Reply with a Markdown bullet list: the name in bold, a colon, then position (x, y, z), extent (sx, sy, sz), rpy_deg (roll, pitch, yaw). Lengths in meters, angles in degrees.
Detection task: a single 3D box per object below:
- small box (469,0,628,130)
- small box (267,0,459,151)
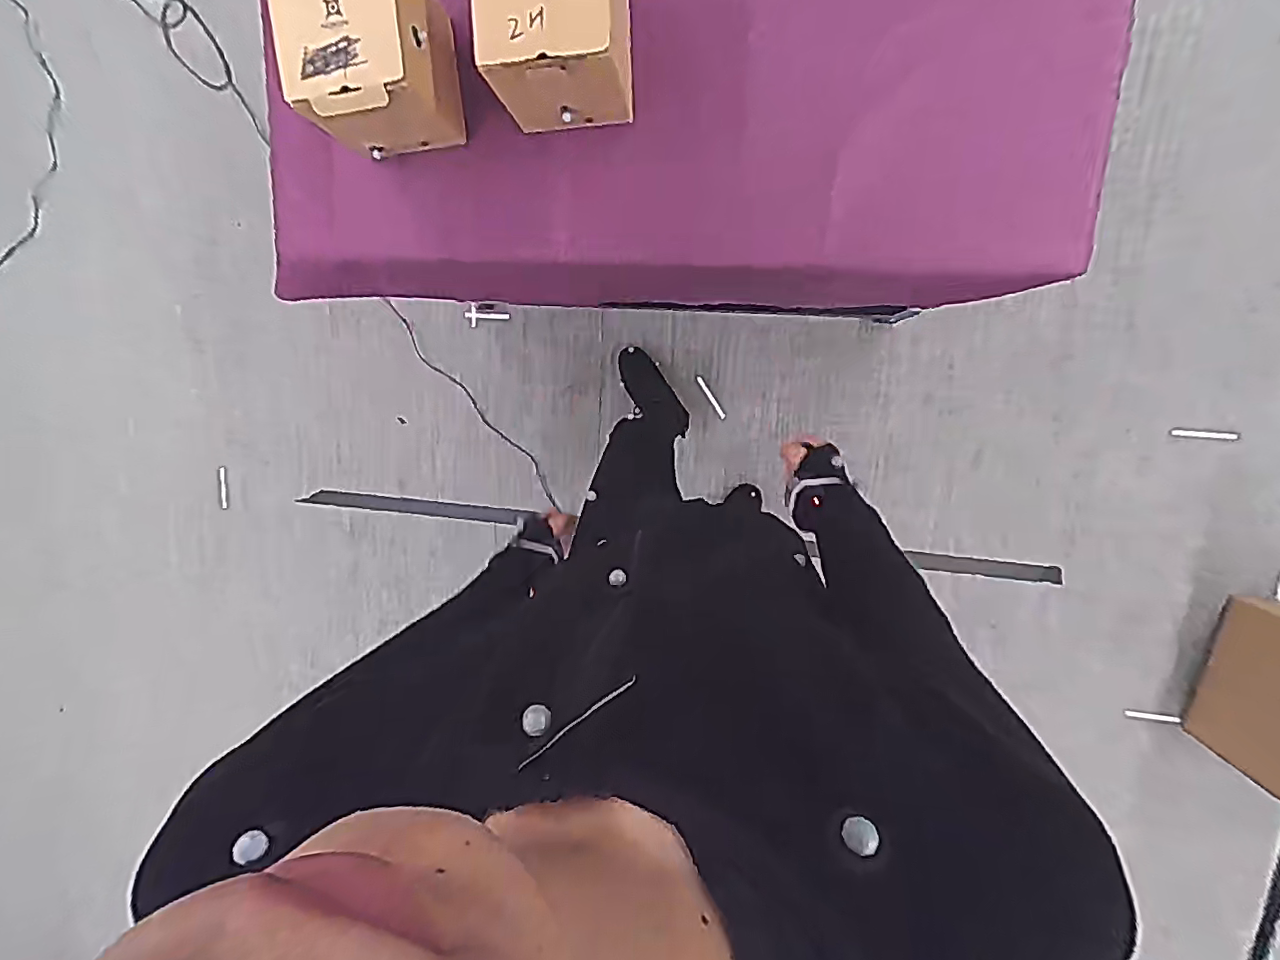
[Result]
- **small box**: position (-0.109, -0.590, 0.697), extent (0.168, 0.176, 0.179), rpy_deg (0, 99, 8)
- **small box**: position (-0.363, -0.575, 0.734), extent (0.168, 0.176, 0.179), rpy_deg (-4, 98, 8)
